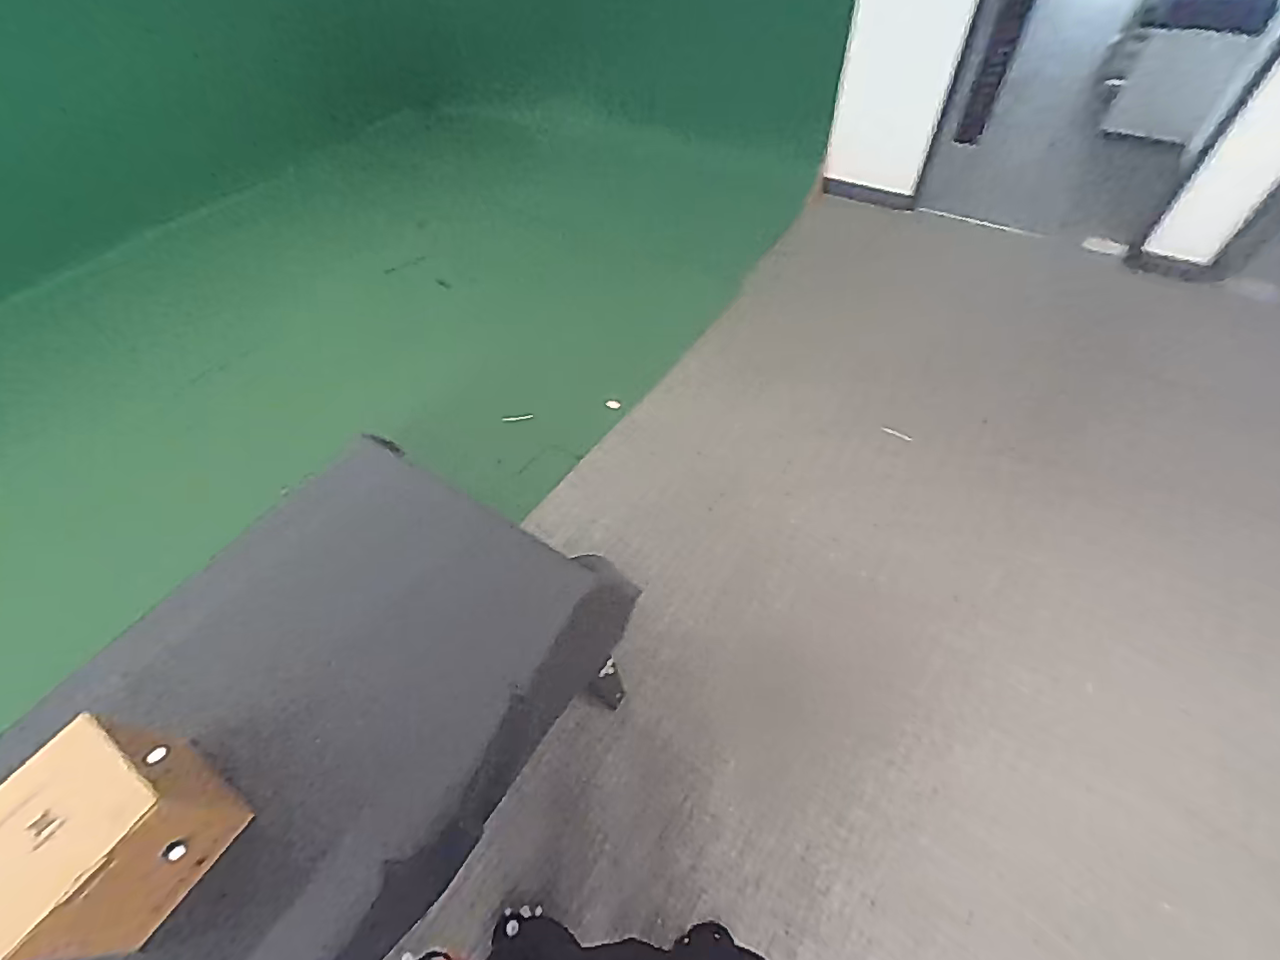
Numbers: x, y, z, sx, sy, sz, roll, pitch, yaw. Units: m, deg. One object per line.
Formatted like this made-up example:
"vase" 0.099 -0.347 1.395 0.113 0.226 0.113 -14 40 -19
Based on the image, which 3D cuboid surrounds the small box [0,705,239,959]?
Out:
"small box" -0.627 0.399 0.629 0.179 0.176 0.168 25 59 22
